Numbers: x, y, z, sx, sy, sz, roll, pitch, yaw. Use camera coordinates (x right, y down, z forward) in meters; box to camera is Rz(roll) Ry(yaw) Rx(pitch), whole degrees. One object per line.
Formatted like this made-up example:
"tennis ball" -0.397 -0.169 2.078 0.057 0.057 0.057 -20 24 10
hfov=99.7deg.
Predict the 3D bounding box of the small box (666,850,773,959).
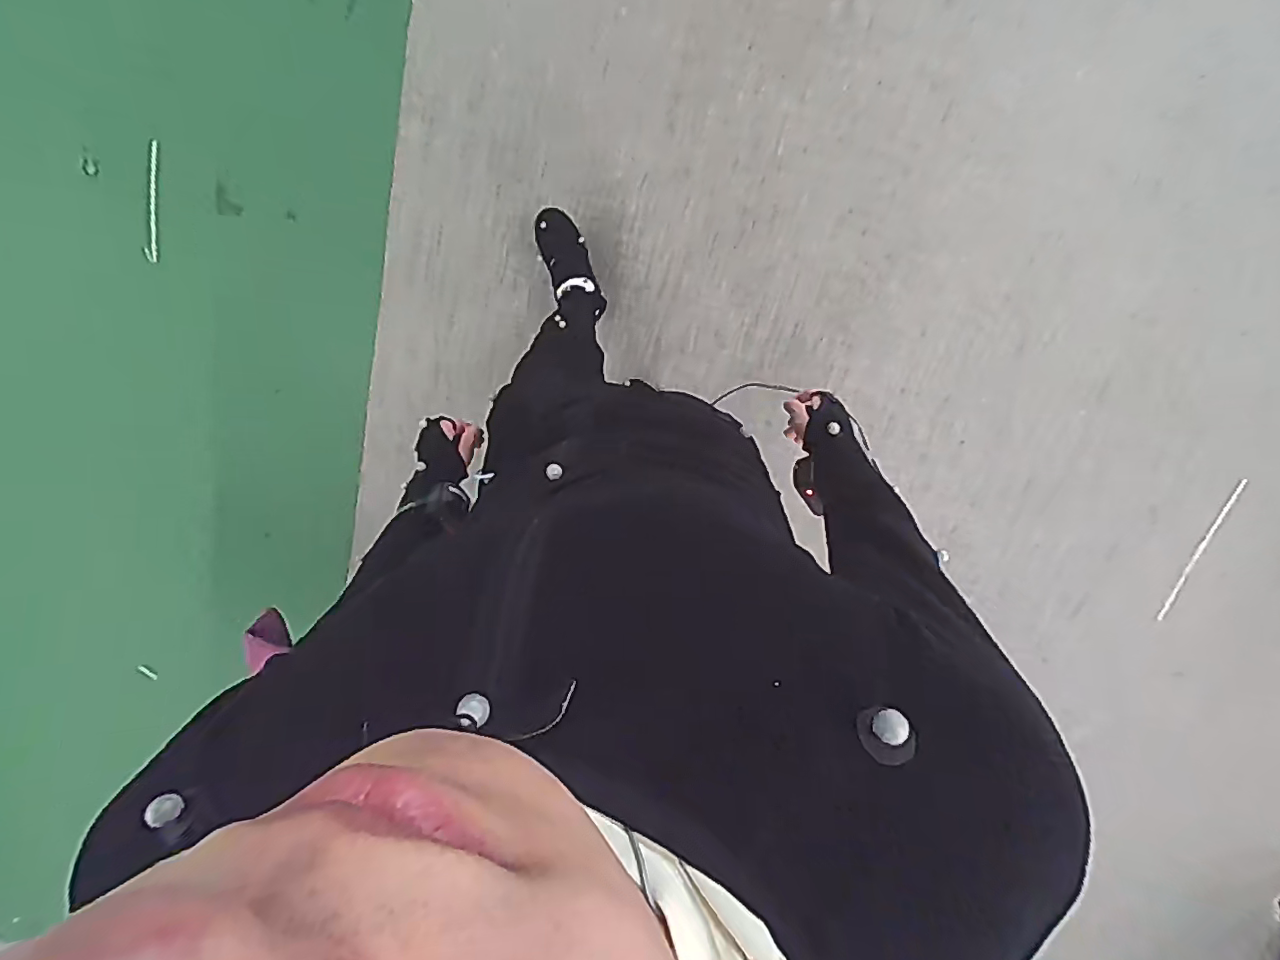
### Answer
"small box" 0.145 0.866 1.052 0.168 0.176 0.179 11 108 0
